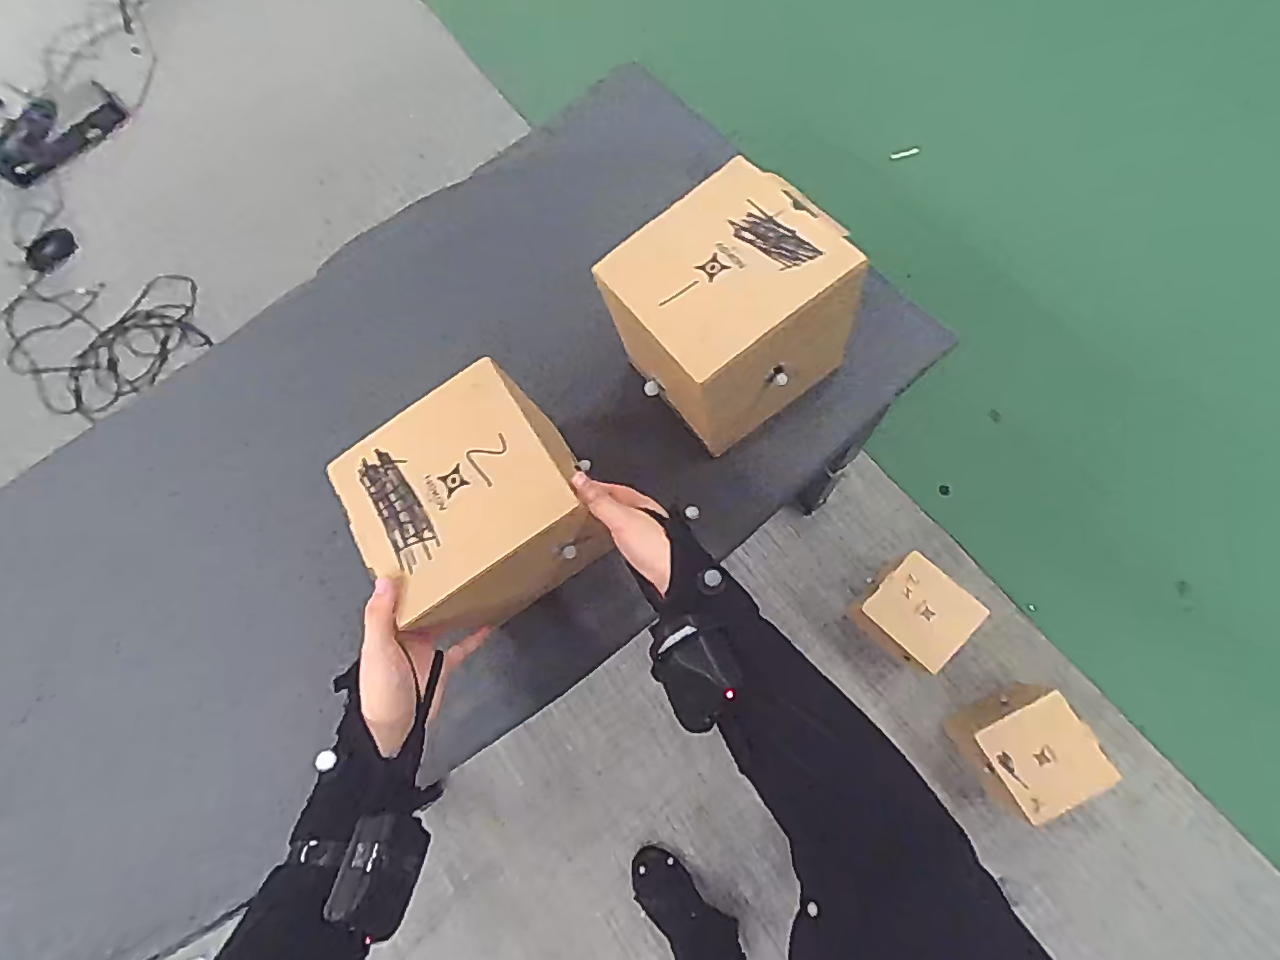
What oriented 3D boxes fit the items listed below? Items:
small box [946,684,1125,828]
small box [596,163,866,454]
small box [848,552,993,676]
[{"bbox_3d":[0.722,0.502,1.012,0.179,0.176,0.168,-29,72,1],"label":"small box"},{"bbox_3d":[0.087,-0.156,0.537,0.179,0.176,0.168,-37,67,-1],"label":"small box"},{"bbox_3d":[0.559,0.272,1.105,0.168,0.176,0.179,-45,72,-5],"label":"small box"}]
